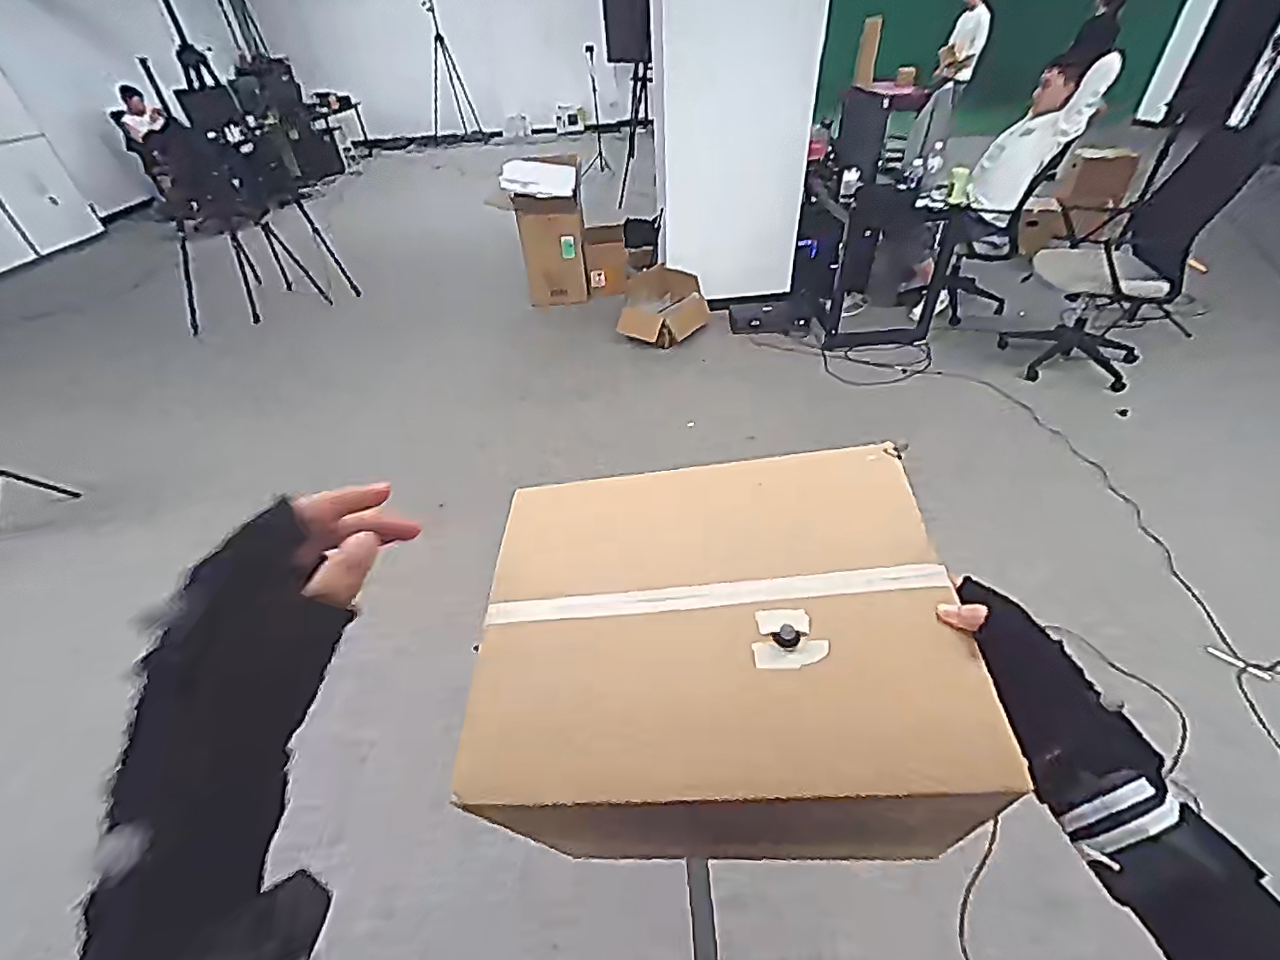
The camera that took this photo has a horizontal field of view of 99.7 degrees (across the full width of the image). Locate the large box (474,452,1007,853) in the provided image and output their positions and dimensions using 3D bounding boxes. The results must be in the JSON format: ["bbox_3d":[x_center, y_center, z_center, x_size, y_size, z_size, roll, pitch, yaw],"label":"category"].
[{"bbox_3d":[0.089,0.206,0.605,0.408,0.320,0.320,-7,49,9],"label":"large box"}]
